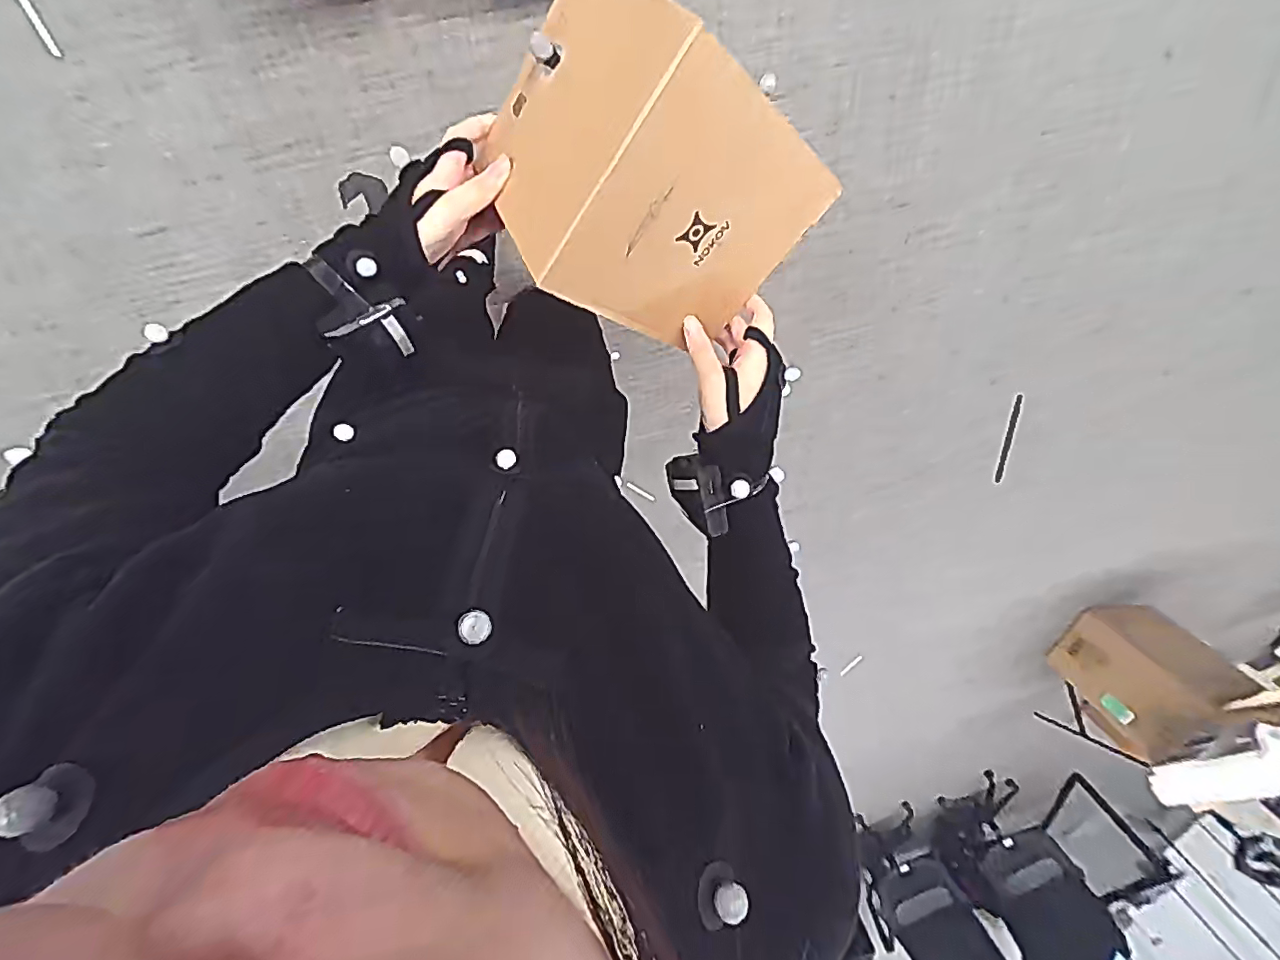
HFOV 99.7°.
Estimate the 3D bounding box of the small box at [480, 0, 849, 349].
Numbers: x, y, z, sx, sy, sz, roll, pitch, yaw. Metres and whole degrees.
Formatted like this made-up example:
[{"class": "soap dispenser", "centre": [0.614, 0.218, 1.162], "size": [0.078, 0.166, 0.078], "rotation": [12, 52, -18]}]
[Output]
[{"class": "small box", "centre": [0.011, -0.232, 0.402], "size": [0.179, 0.176, 0.168], "rotation": [9, 133, -46]}]
